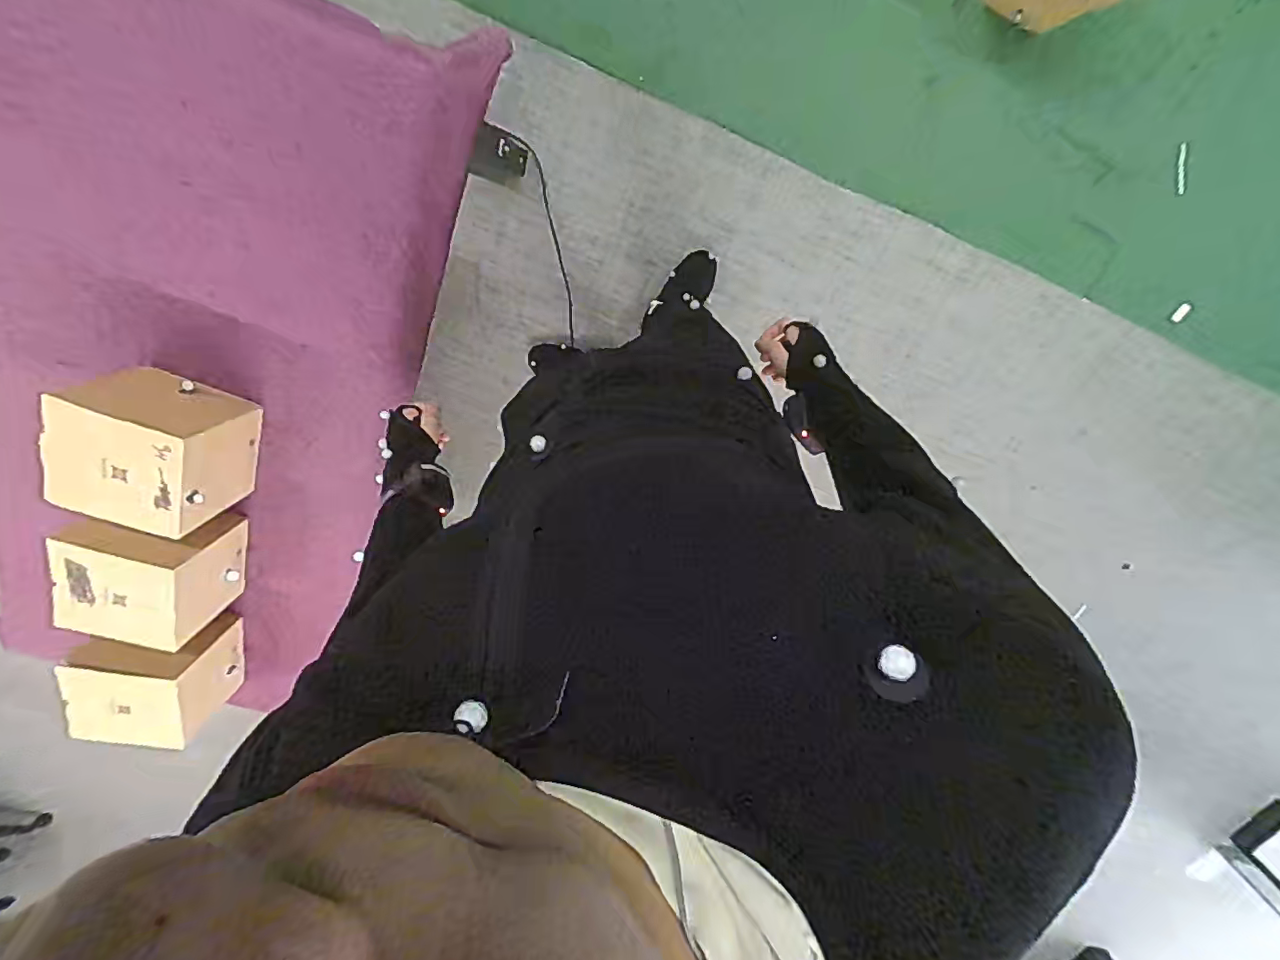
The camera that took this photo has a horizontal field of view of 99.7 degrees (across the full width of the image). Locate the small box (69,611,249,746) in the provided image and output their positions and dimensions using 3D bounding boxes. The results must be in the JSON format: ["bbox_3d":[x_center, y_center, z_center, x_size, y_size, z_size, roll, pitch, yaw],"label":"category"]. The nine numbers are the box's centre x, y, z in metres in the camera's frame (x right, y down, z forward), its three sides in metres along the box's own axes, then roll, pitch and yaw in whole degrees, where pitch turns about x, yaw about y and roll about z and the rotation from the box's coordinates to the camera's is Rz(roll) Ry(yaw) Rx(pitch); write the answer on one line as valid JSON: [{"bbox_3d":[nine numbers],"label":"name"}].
[{"bbox_3d":[-0.855,0.341,0.980,0.179,0.176,0.168,13,114,-6],"label":"small box"}]

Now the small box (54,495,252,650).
[{"bbox_3d":[-0.788,0.143,0.891,0.179,0.176,0.168,17,113,-8],"label":"small box"}]
